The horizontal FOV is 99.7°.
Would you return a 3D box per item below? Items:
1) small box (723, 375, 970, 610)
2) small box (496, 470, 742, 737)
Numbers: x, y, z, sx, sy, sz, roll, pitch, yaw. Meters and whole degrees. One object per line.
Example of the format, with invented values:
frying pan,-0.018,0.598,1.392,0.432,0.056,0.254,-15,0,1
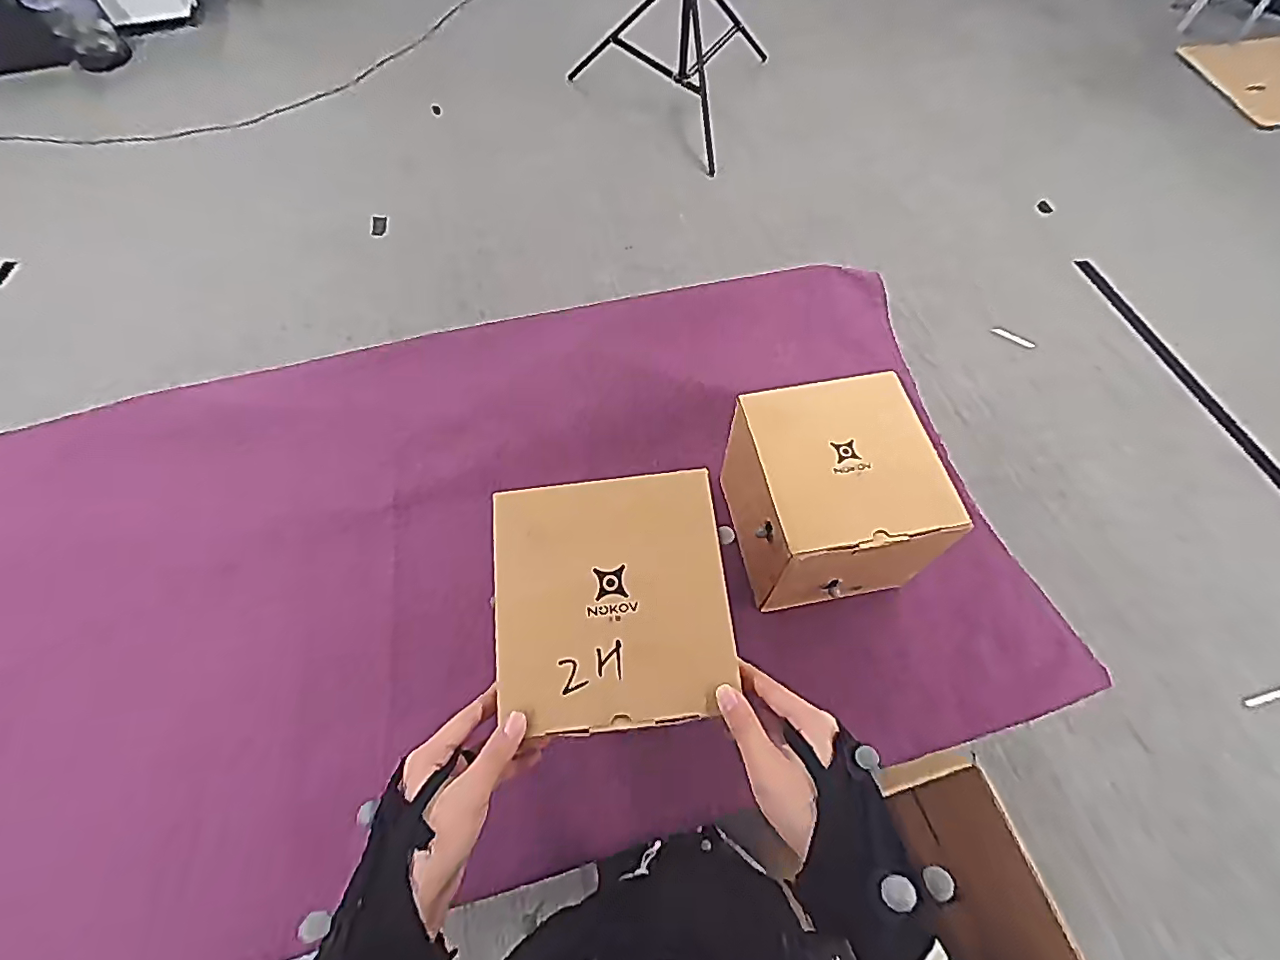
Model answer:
small box,0.192,0.019,0.571,0.168,0.176,0.179,-10,61,-4
small box,-0.018,0.108,0.460,0.168,0.176,0.179,-7,71,1
